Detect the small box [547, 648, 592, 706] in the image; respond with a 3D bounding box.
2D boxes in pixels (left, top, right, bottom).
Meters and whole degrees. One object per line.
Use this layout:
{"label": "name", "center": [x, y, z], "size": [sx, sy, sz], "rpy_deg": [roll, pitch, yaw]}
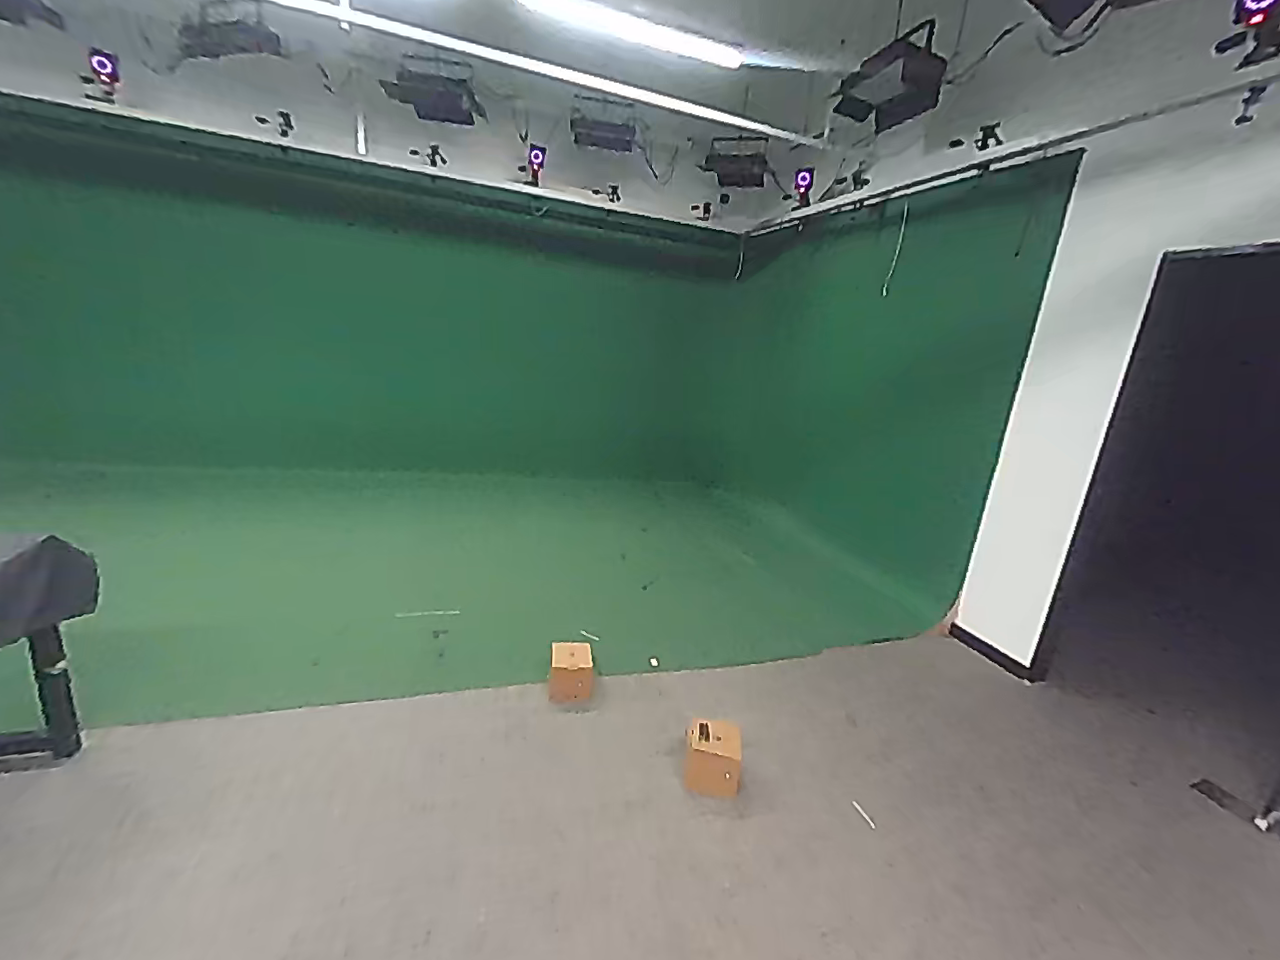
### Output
{"label": "small box", "center": [-0.297, 0.827, 2.265], "size": [0.168, 0.176, 0.179], "rpy_deg": [5, 14, -12]}
